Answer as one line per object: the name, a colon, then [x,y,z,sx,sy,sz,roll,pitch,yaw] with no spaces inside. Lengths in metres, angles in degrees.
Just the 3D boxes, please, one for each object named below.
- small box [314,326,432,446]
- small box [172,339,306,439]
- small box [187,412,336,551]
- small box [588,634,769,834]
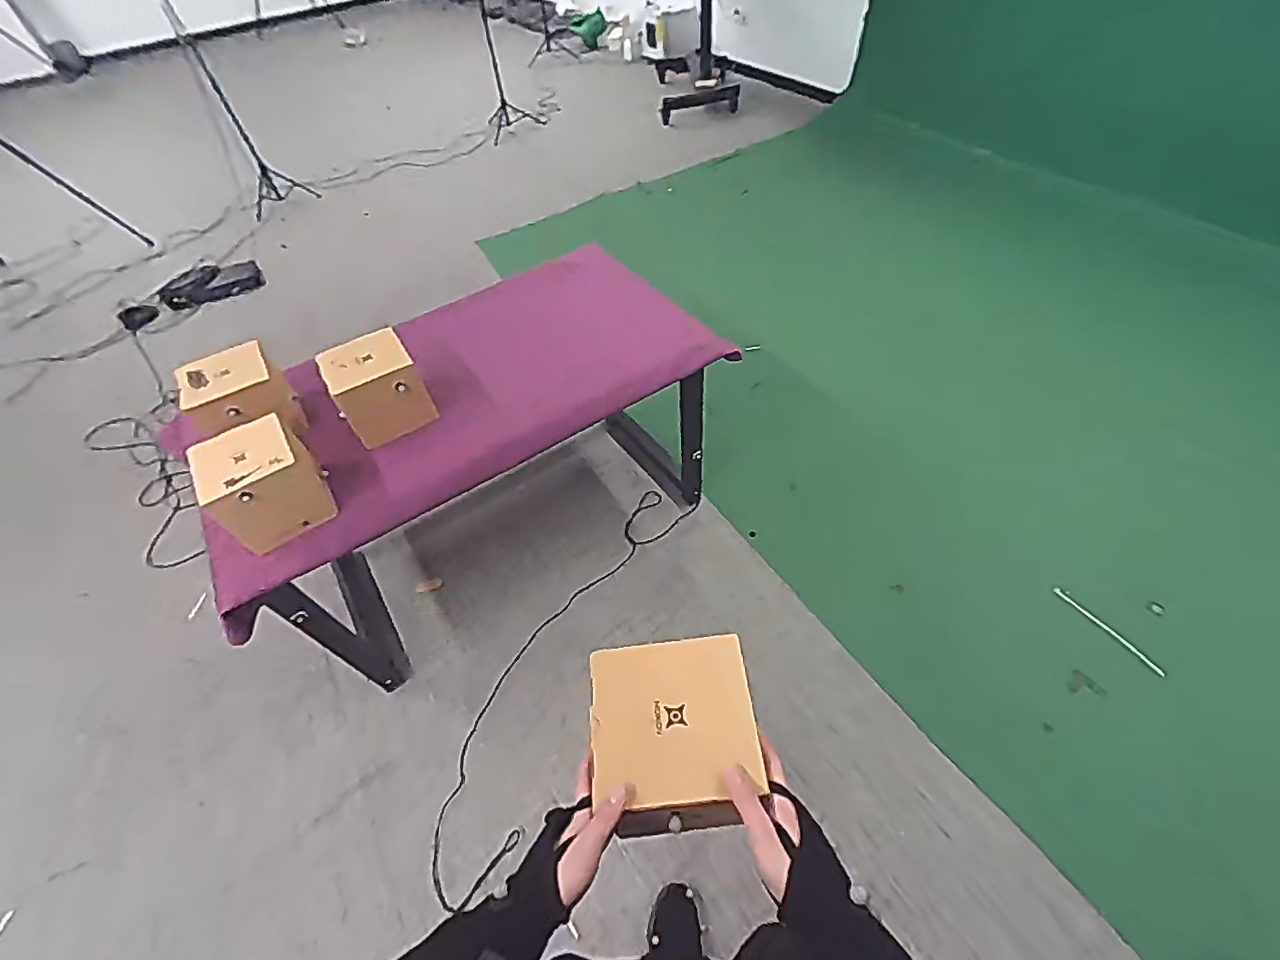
small box: [-0.590,-0.210,1.217,0.179,0.176,0.168,-29,55,-17]
small box: [-0.897,-0.180,1.218,0.179,0.176,0.168,-29,56,-18]
small box: [-0.737,0.004,1.061,0.168,0.176,0.179,-31,55,-18]
small box: [0.042,0.299,0.628,0.179,0.176,0.168,-9,50,3]
